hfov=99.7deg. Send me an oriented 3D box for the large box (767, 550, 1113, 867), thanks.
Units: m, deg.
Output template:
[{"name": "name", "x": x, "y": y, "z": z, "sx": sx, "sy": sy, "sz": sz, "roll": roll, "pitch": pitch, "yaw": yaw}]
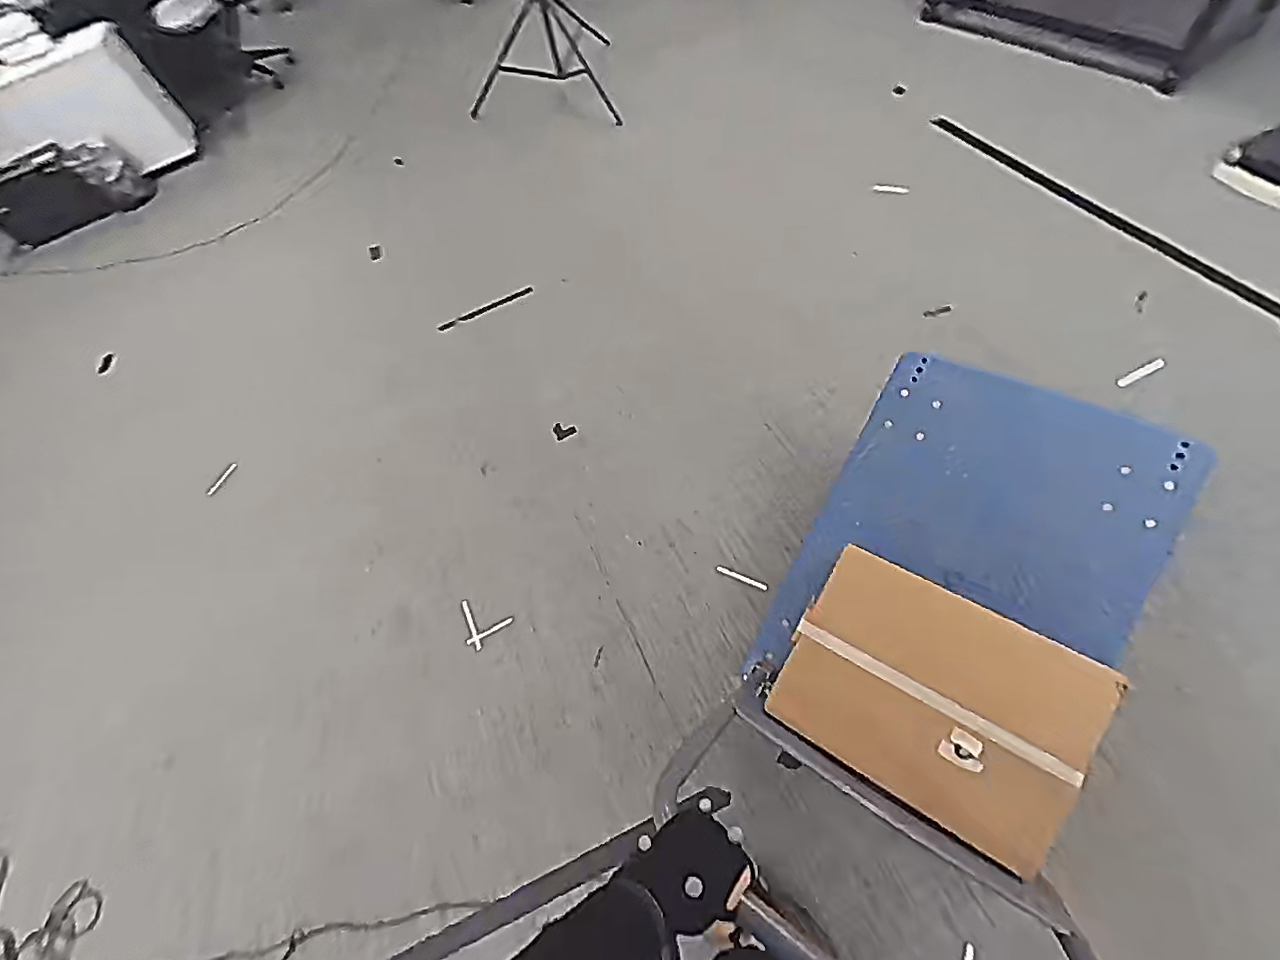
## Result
[{"name": "large box", "x": 0.489, "y": 0.363, "z": 0.974, "sx": 0.408, "sy": 0.320, "sz": 0.320, "roll": 27, "pitch": 88, "yaw": 23}]
